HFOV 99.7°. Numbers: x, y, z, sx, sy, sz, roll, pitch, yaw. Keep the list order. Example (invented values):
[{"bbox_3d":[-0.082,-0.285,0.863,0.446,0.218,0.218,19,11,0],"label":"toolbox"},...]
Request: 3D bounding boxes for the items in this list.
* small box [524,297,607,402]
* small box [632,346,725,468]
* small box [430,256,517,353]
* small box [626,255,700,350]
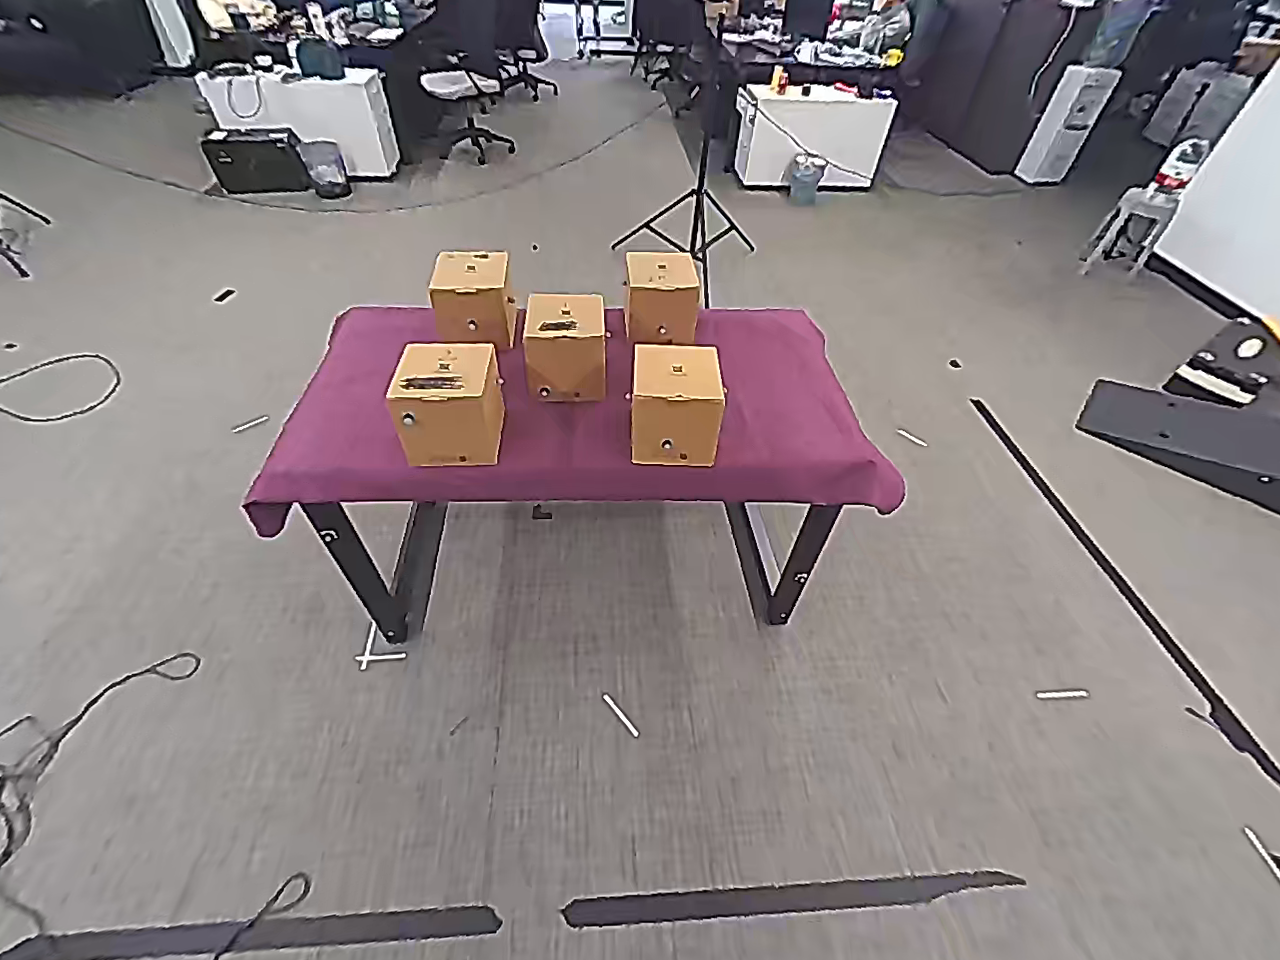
[{"bbox_3d":[-0.159,-0.288,1.206,0.168,0.176,0.179,-1,46,-4],"label":"small box"},{"bbox_3d":[0.070,-0.147,1.085,0.168,0.176,0.179,2,46,-2],"label":"small box"},{"bbox_3d":[-0.394,-0.424,1.316,0.168,0.176,0.179,-2,49,-6],"label":"small box"},{"bbox_3d":[0.051,-0.447,1.363,0.168,0.176,0.179,-2,48,-4],"label":"small box"}]
